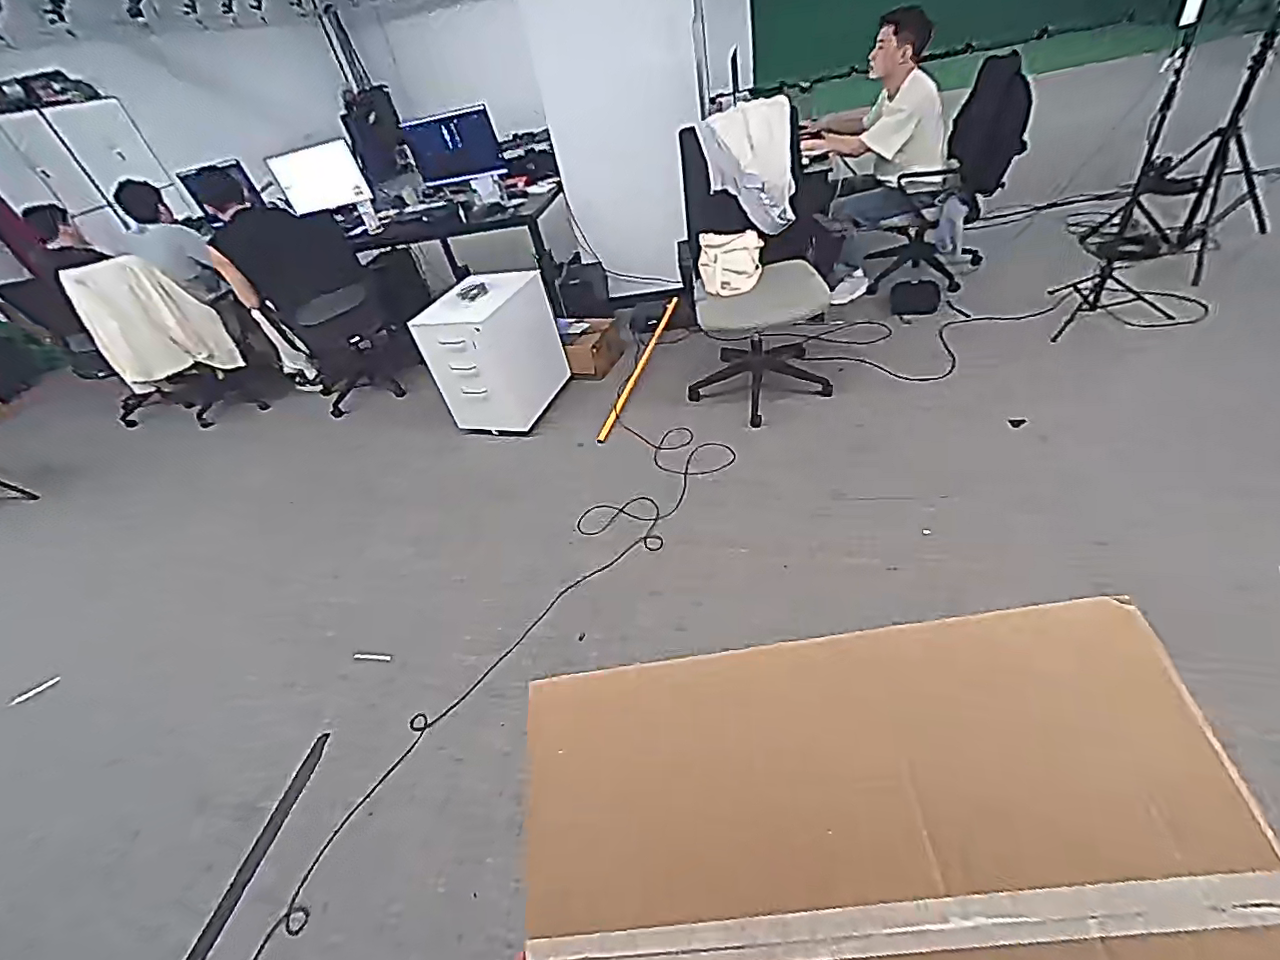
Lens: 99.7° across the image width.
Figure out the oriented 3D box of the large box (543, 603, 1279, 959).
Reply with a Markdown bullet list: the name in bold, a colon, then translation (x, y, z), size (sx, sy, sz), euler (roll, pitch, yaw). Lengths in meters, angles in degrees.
- **large box**: translation (0.164, 0.322, 0.430), size (0.408, 0.320, 0.320), euler (-11, 60, 7)
